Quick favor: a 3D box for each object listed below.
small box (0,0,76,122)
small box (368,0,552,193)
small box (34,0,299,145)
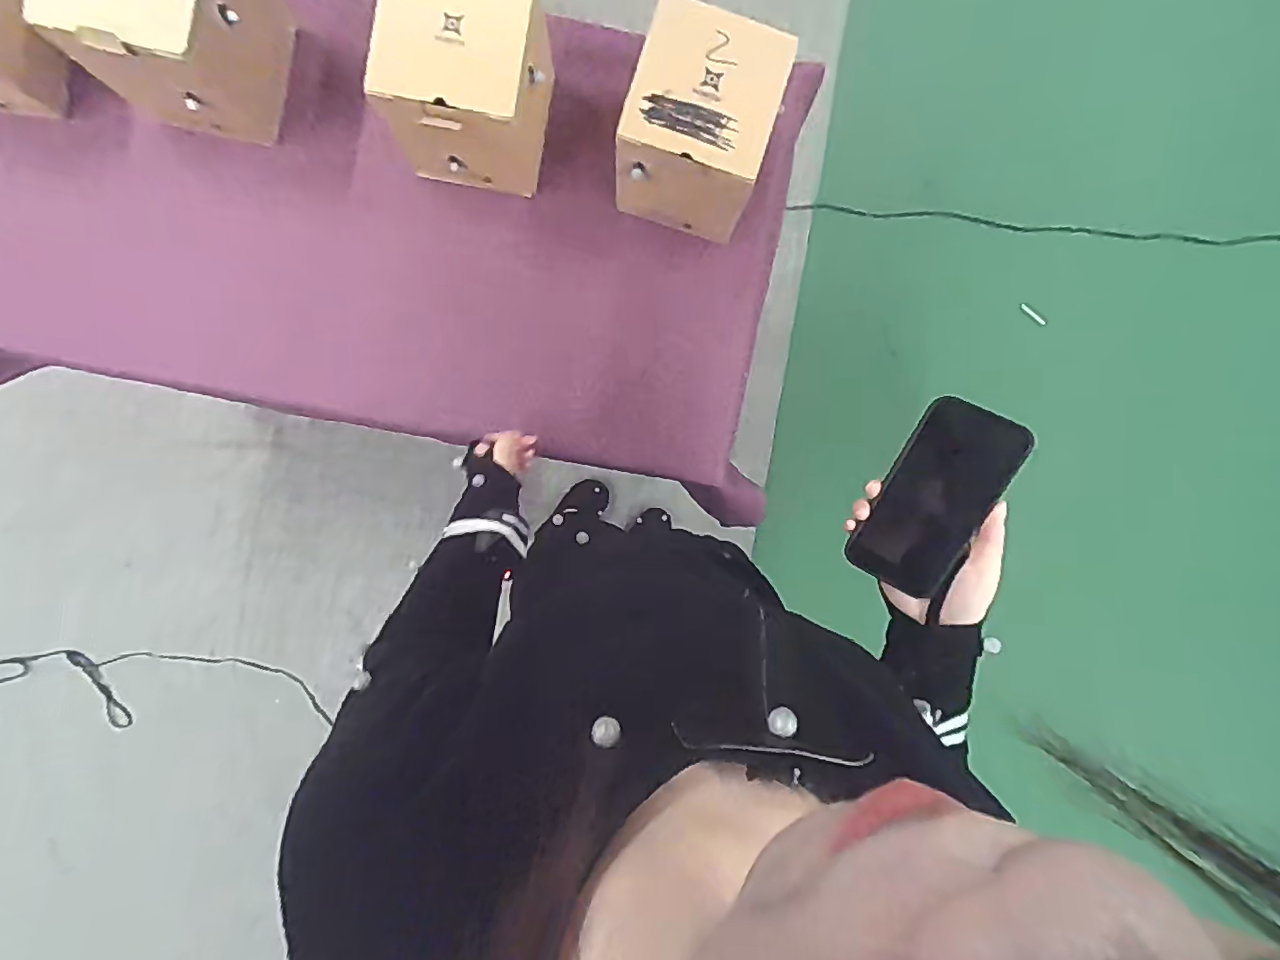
[{"bbox_3d":[-0.833,-0.574,0.643,0.168,0.176,0.179,6,91,-3],"label":"small box"},{"bbox_3d":[-0.208,-0.497,0.674,0.168,0.176,0.179,9,91,-3],"label":"small box"},{"bbox_3d":[-0.553,-0.552,0.658,0.168,0.176,0.179,11,90,-4],"label":"small box"}]
